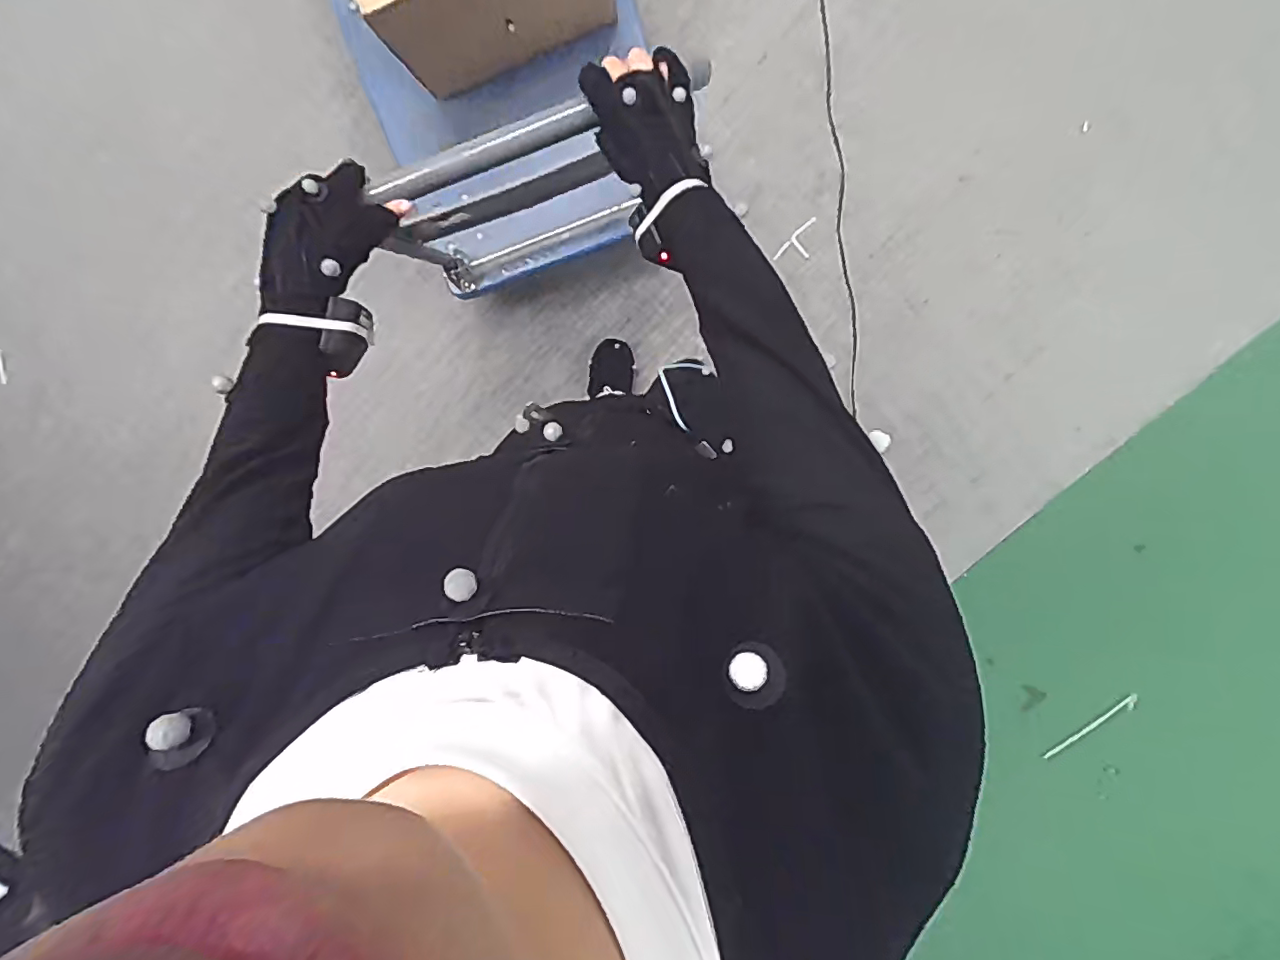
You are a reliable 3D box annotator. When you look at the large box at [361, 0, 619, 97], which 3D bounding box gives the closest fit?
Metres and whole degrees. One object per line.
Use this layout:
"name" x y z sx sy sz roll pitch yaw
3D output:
"large box" -0.285 -0.960 0.925 0.408 0.320 0.320 -20 102 8
